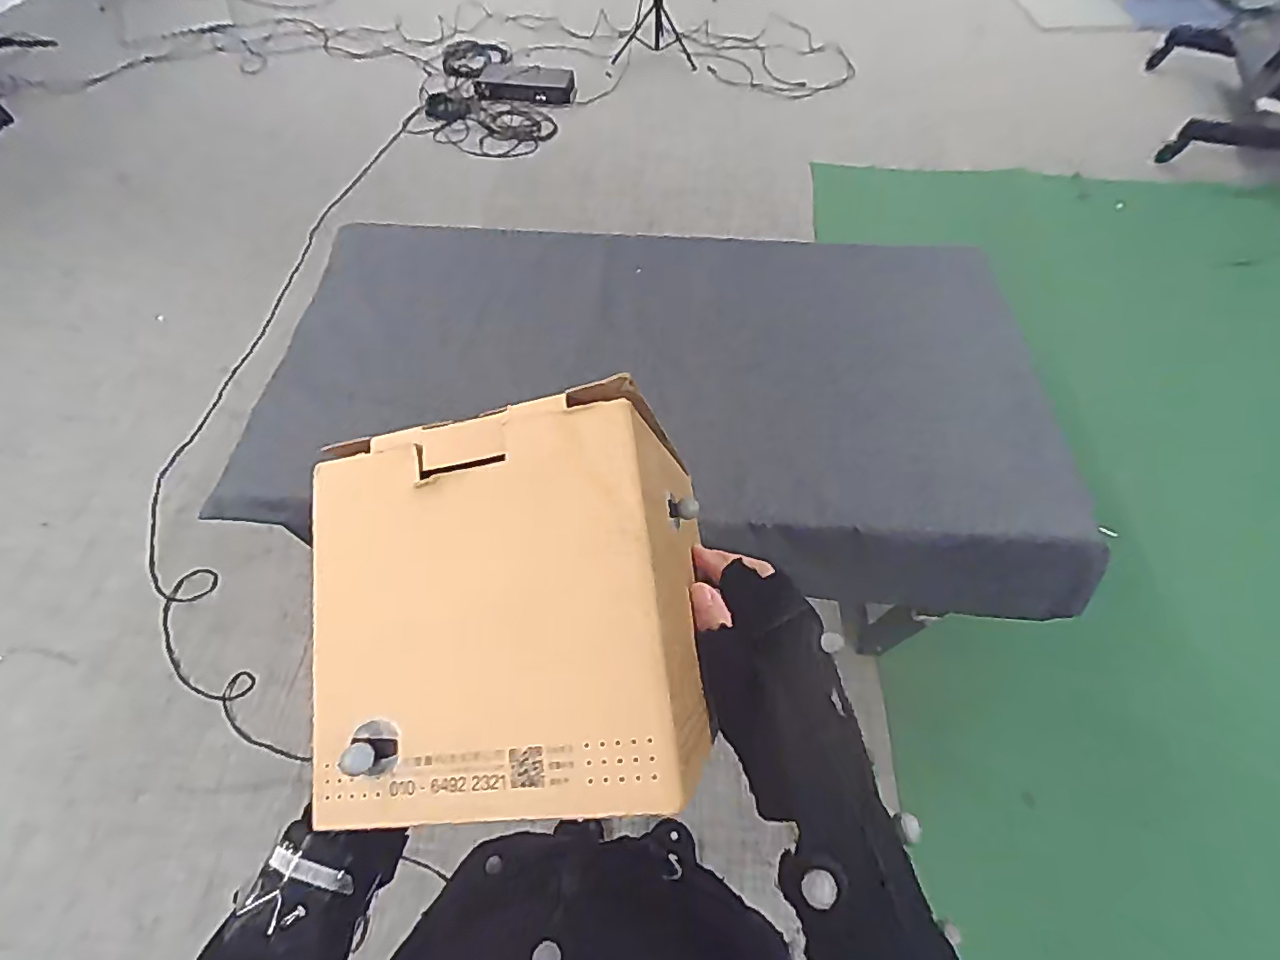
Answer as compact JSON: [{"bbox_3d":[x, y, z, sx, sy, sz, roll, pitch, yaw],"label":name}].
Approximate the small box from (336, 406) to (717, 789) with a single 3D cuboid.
[{"bbox_3d":[-0.052,0.075,0.332,0.168,0.179,0.176,-10,76,12],"label":"small box"}]
